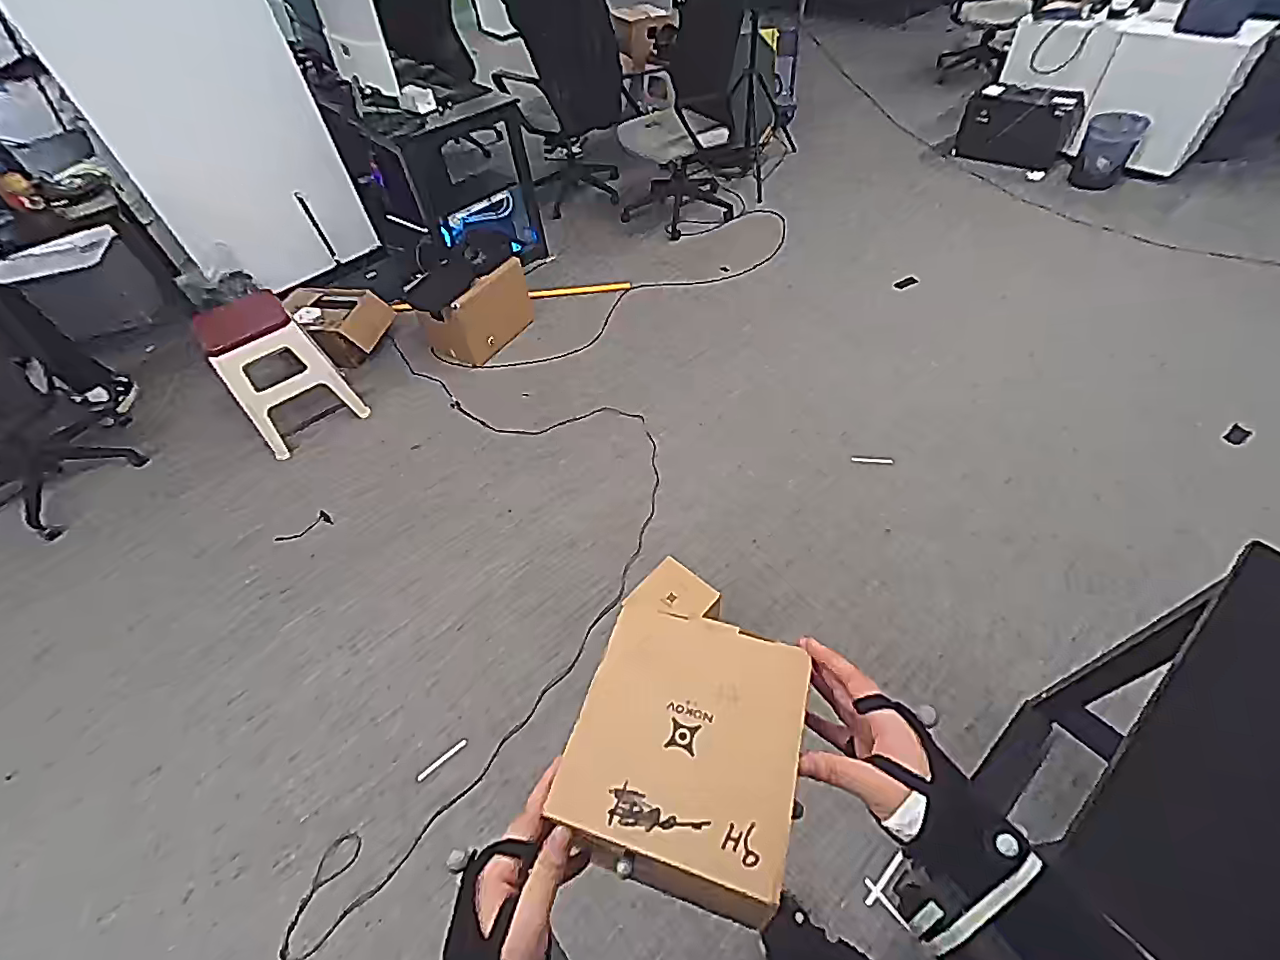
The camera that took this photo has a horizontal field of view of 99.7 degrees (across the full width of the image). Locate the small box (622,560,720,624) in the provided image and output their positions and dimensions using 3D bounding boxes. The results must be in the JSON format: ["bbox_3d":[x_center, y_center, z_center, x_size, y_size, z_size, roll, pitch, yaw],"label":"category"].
[{"bbox_3d":[0.080,0.337,1.326,0.168,0.176,0.179,34,60,28],"label":"small box"}]

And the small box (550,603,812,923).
[{"bbox_3d":[0.045,0.241,0.469,0.168,0.176,0.179,9,47,18],"label":"small box"}]
